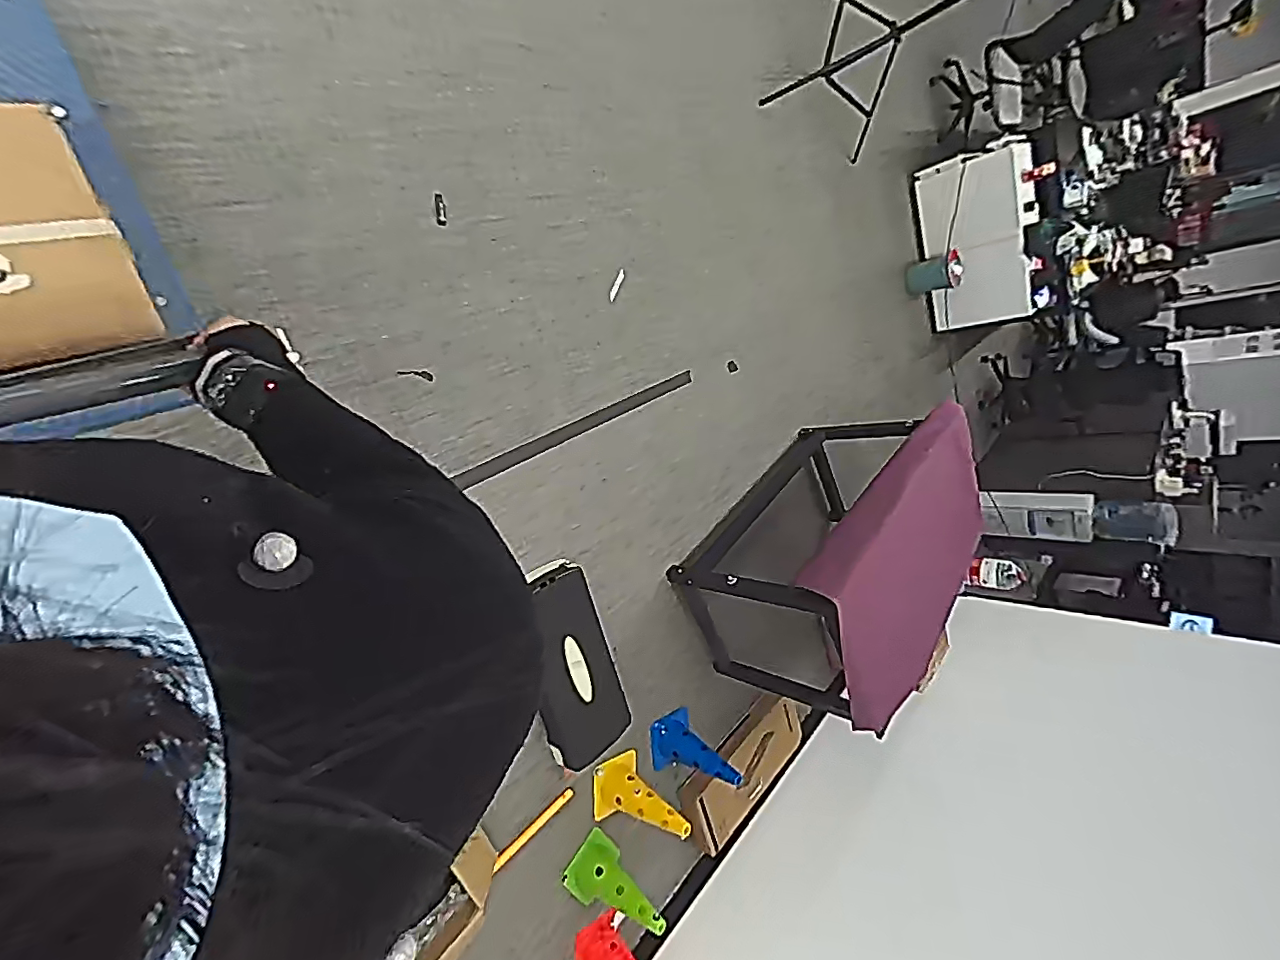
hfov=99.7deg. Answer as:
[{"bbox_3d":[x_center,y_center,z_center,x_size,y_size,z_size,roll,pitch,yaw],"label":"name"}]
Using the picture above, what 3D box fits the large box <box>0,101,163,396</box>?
[{"bbox_3d":[-0.979,-0.281,0.744,0.408,0.320,0.320,-30,111,-38],"label":"large box"}]
